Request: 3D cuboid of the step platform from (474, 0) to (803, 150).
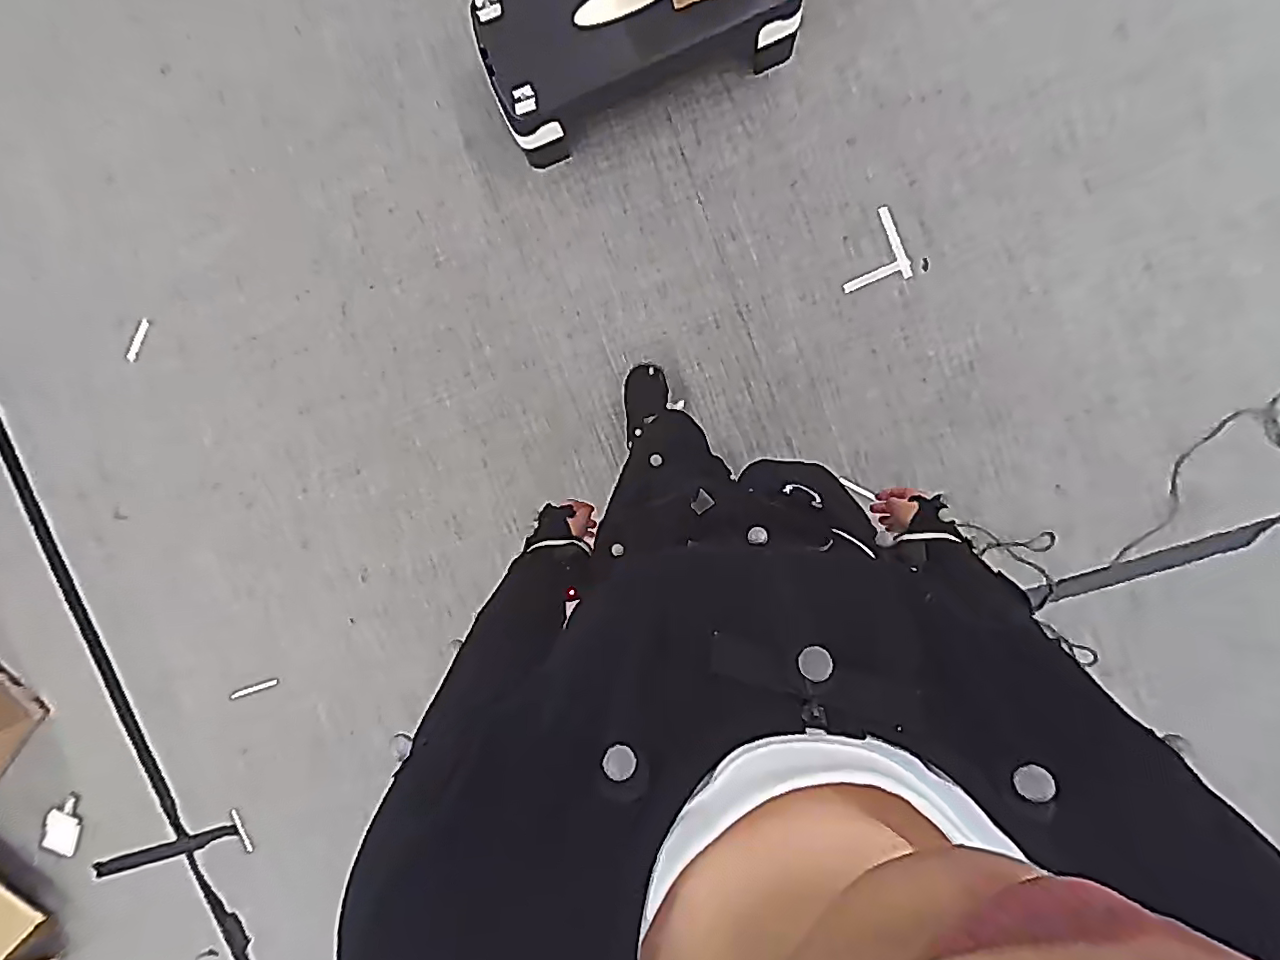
[{"bbox_3d":[-0.003,-1.015,1.170,0.684,0.204,0.286,-20,93,8],"label":"step platform"}]
